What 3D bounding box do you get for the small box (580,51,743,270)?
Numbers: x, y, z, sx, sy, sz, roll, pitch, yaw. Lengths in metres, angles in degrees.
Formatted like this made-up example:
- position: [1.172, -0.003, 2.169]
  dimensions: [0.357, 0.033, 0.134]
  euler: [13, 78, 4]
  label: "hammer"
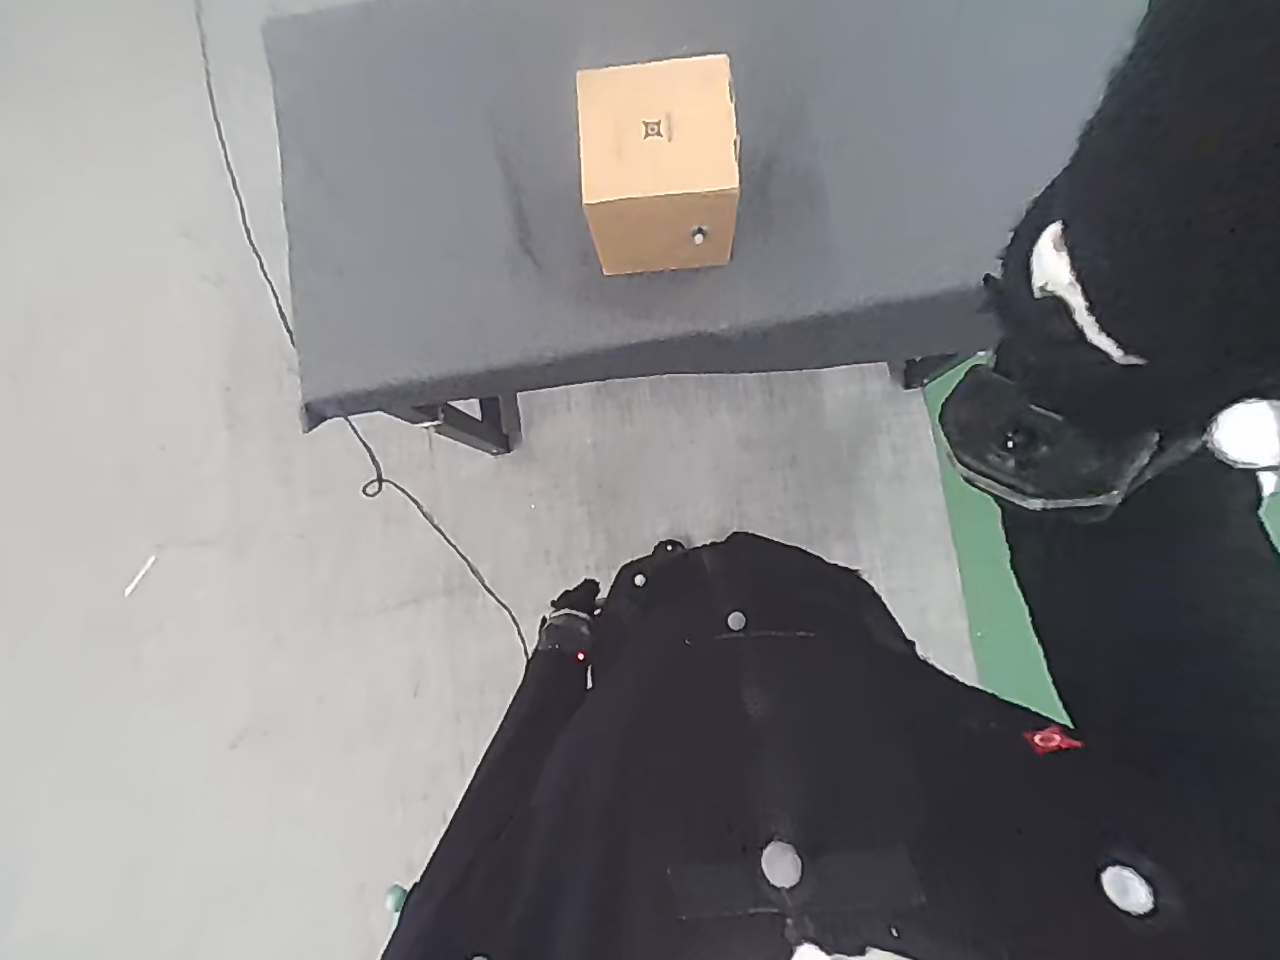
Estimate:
- position: [0.028, -0.386, 0.683]
  dimensions: [0.179, 0.176, 0.168]
  euler: [-4, 83, 5]
  label: "small box"
